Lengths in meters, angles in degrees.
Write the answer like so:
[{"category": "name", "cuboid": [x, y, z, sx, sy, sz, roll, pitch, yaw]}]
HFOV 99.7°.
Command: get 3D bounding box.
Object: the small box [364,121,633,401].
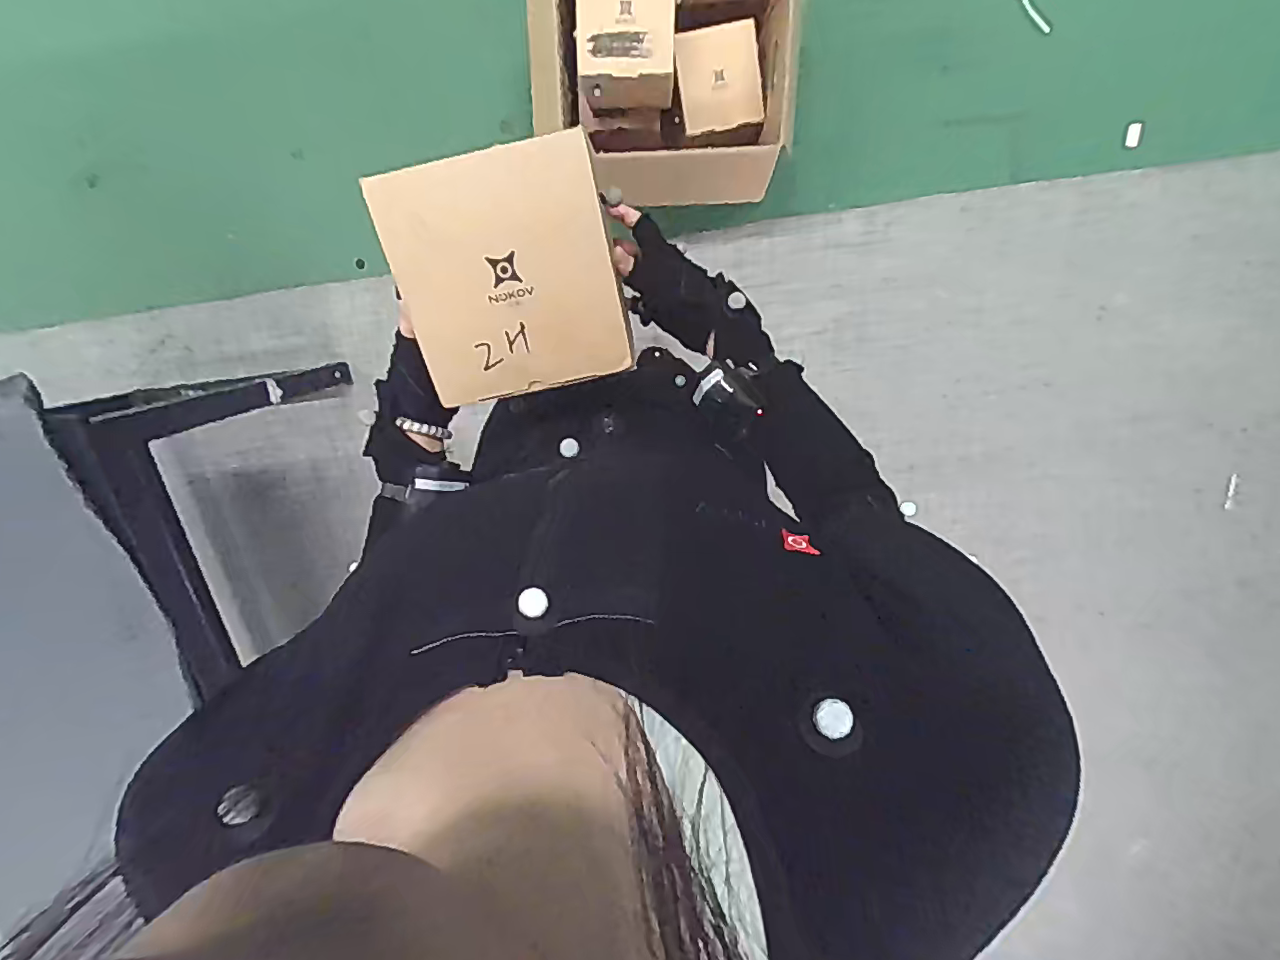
[{"category": "small box", "cuboid": [-0.103, -0.187, 0.482, 0.168, 0.176, 0.179, -10, 114, 4]}]
